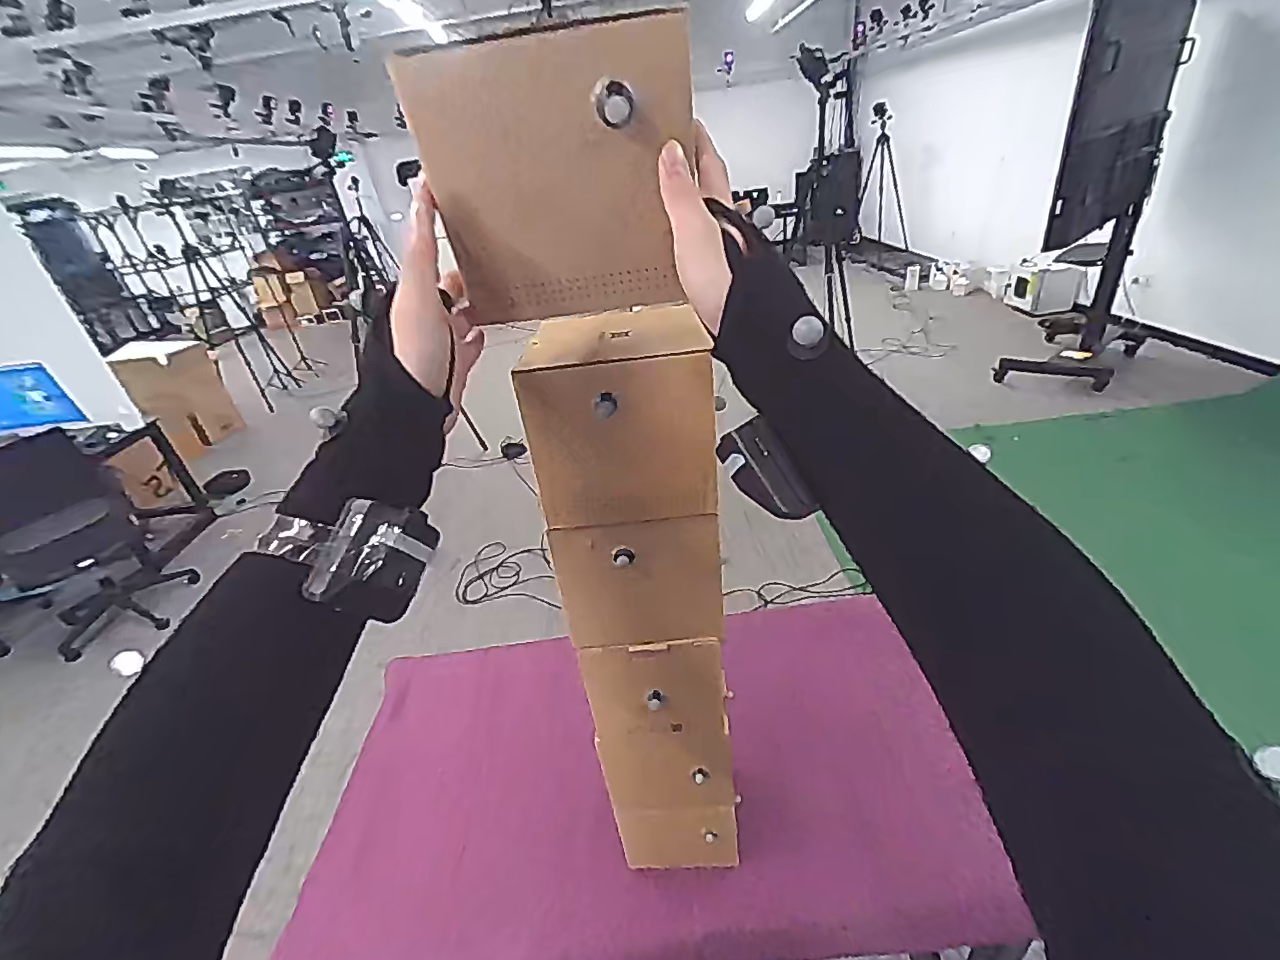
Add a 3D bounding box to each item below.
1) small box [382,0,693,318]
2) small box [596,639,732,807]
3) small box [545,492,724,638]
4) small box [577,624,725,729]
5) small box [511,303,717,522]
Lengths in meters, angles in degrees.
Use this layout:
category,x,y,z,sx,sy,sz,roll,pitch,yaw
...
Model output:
category,x,y,z,sx,sy,sz,roll,pitch,yaw
small box,-0.052,-0.242,0.413,0.179,0.176,0.168,-6,41,5
small box,0.042,0.356,0.798,0.179,0.176,0.168,-6,30,6
small box,0.001,0.070,0.643,0.179,0.176,0.168,-6,30,3
small box,0.022,0.213,0.723,0.168,0.176,0.179,-5,30,5
small box,-0.014,-0.072,0.565,0.179,0.176,0.168,-6,30,5
